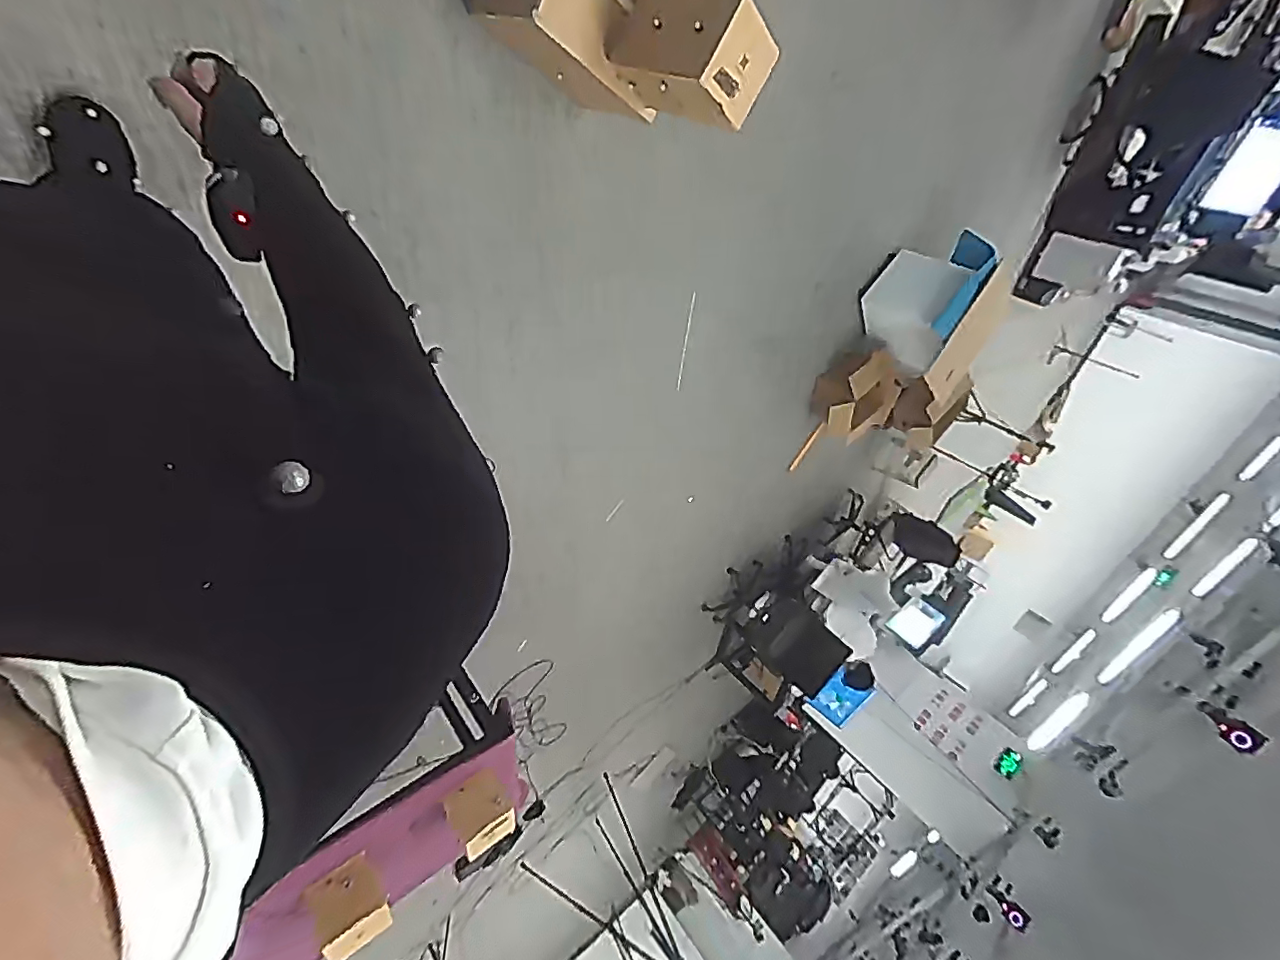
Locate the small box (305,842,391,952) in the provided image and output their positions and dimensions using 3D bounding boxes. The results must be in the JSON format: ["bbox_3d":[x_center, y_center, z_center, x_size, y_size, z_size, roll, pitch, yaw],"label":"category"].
[{"bbox_3d":[-0.841,1.197,1.562,0.168,0.176,0.179,-22,137,-36],"label":"small box"}]

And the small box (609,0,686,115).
[{"bbox_3d":[0.058,-1.005,1.261,0.168,0.176,0.179,12,114,-53],"label":"small box"}]

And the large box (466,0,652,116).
[{"bbox_3d":[-0.138,-1.172,1.316,0.408,0.320,0.320,3,119,-49],"label":"large box"}]

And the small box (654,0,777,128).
[{"bbox_3d":[0.156,-0.911,1.169,0.168,0.176,0.179,13,112,-53],"label":"small box"}]
